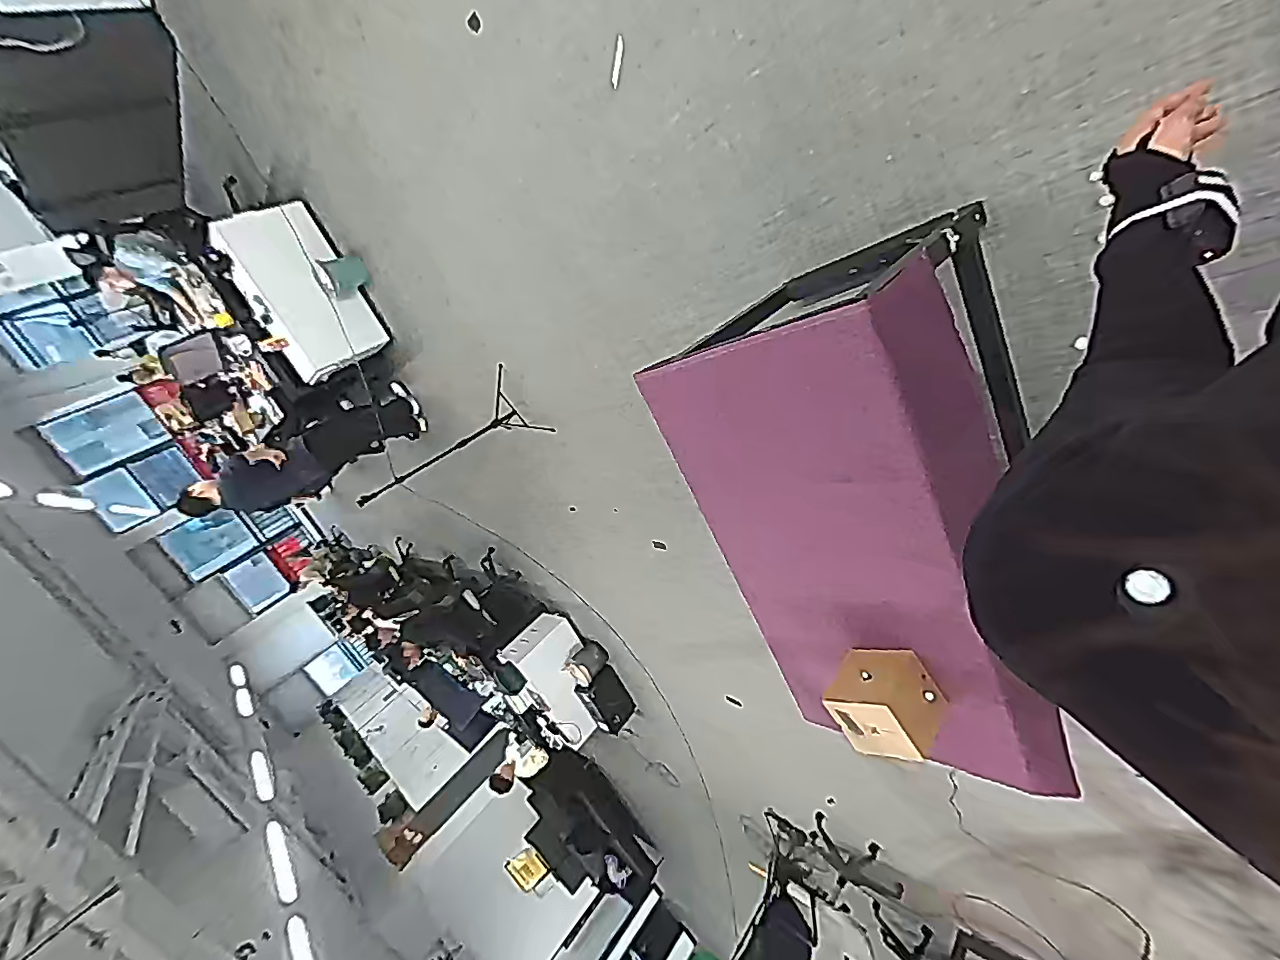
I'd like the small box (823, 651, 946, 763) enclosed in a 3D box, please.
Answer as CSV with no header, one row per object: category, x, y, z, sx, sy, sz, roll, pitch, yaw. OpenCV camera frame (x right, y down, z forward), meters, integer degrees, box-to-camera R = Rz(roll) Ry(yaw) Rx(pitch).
small box,0.571,0.518,1.261,0.168,0.176,0.179,54,145,-7
